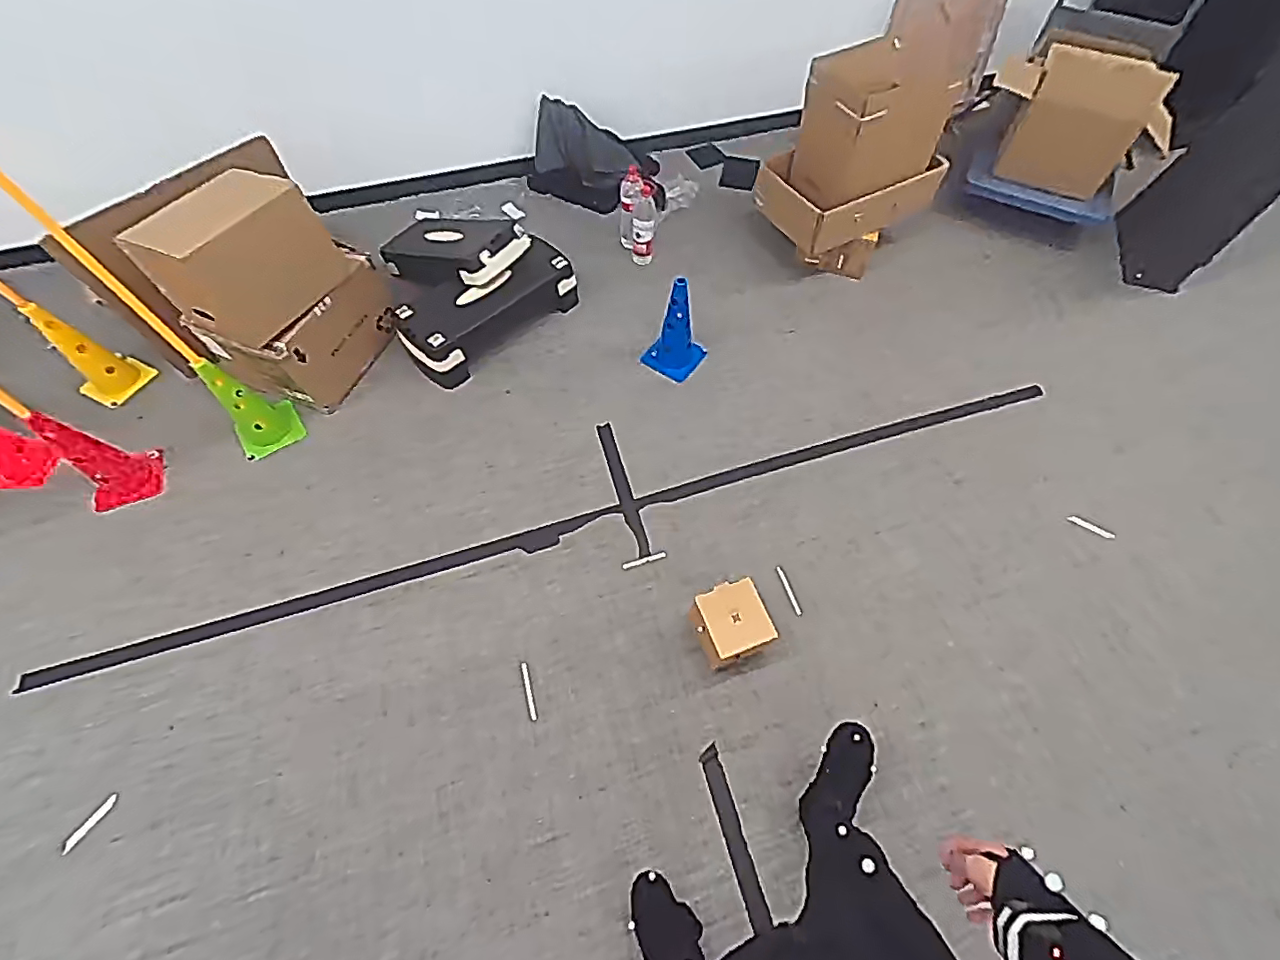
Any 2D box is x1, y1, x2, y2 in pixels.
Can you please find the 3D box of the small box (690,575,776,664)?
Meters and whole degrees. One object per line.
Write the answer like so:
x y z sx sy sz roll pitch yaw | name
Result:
0.248 0.391 1.482 0.168 0.176 0.179 -18 62 -10 | small box
